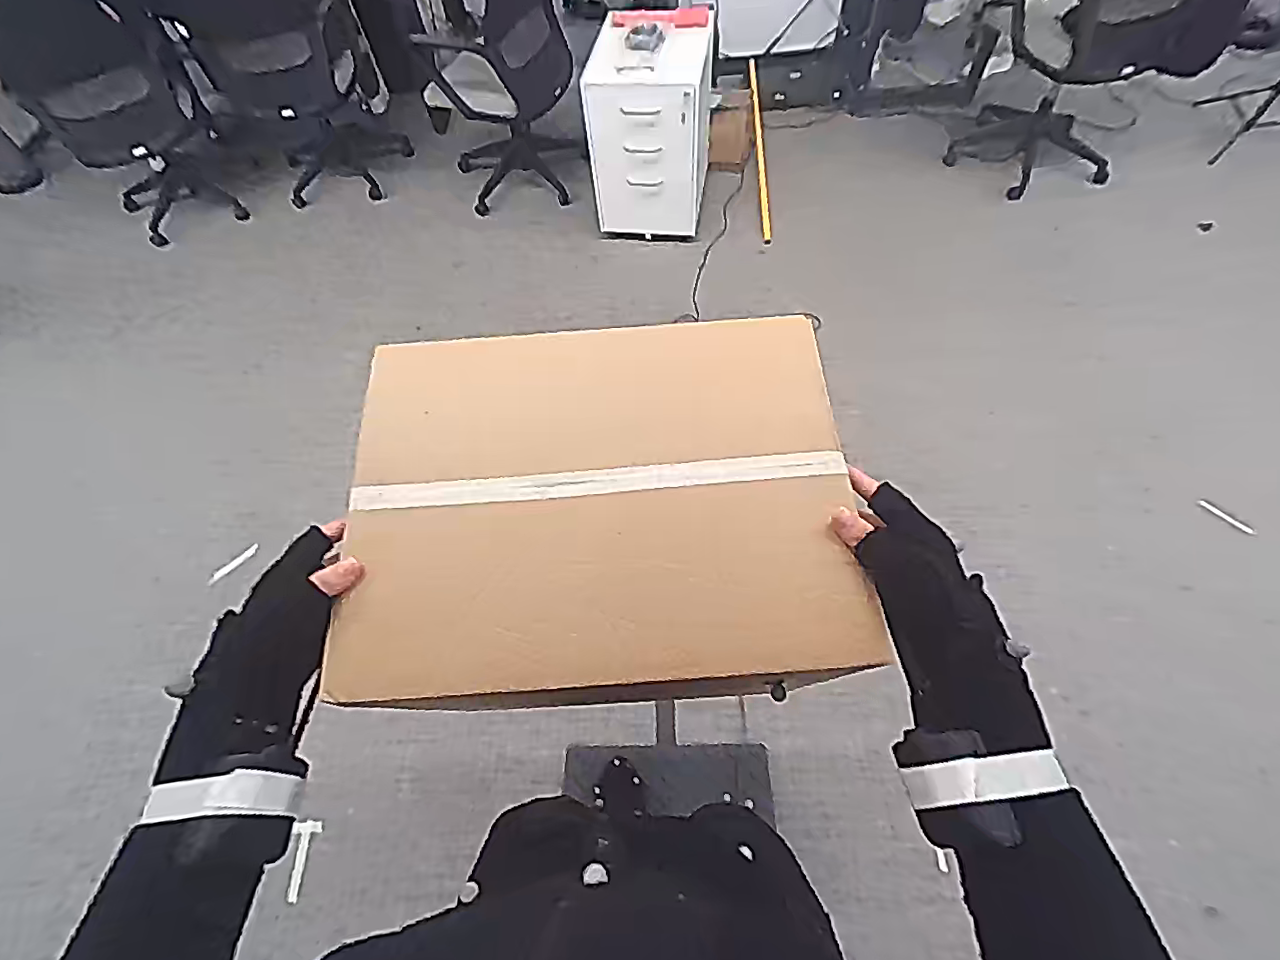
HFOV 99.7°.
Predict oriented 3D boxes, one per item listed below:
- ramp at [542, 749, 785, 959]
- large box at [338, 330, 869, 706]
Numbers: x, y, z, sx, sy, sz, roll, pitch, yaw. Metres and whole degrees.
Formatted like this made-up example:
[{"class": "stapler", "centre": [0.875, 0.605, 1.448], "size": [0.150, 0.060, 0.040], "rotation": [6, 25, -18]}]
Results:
[{"class": "ramp", "centre": [0.044, 1.048, 1.014], "size": [0.509, 0.206, 0.991], "rotation": [-4, 59, 2]}, {"class": "large box", "centre": [-0.031, 0.068, 0.593], "size": [0.408, 0.320, 0.320], "rotation": [-4, 65, 0]}]
